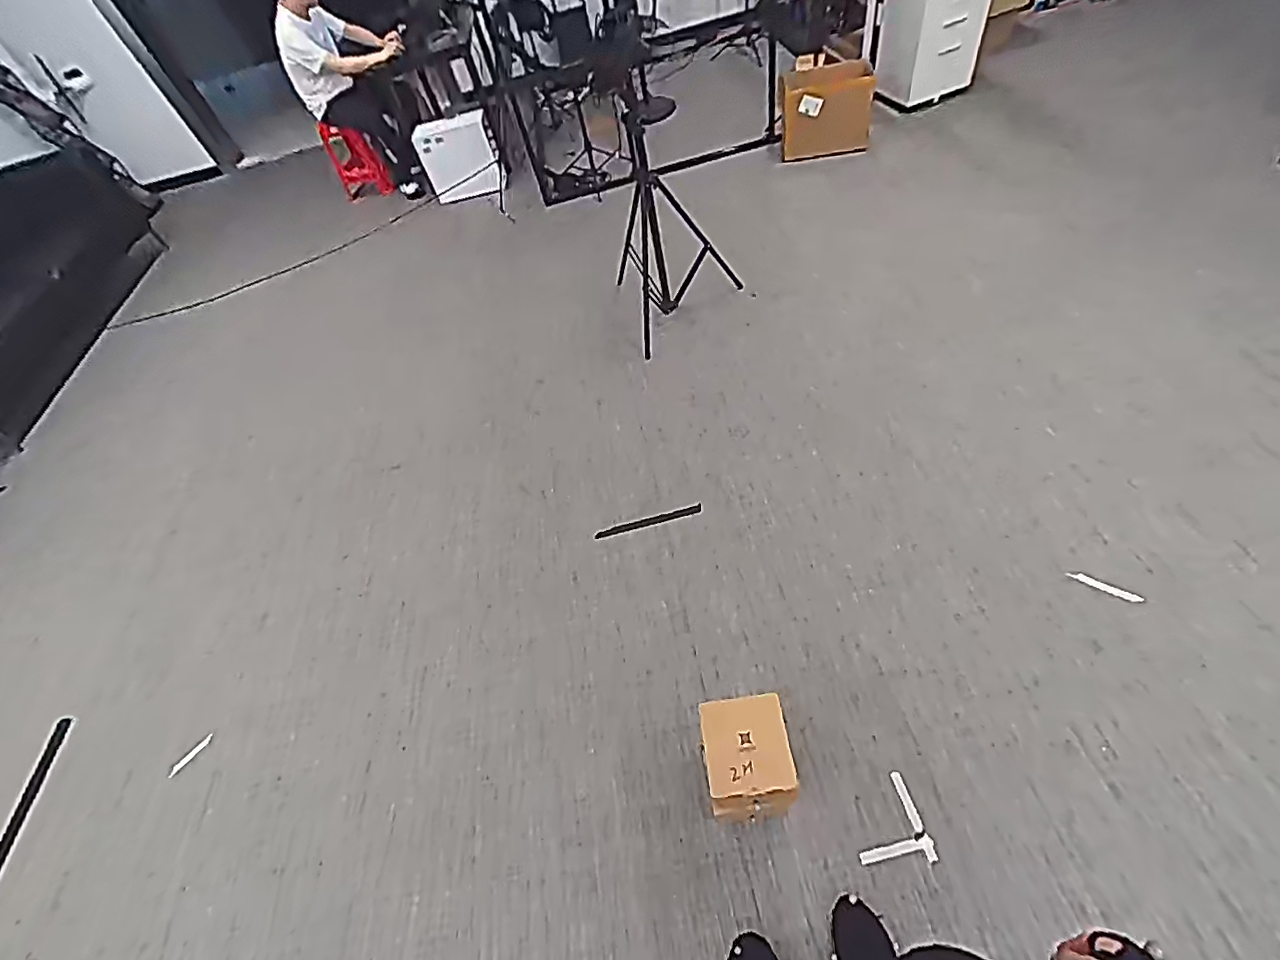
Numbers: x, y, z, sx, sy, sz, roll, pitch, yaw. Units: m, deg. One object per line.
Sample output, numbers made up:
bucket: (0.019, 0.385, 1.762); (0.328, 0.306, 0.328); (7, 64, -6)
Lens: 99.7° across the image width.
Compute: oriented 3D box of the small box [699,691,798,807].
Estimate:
small box: (0.221, 0.558, 1.115); (0.168, 0.176, 0.179); (-11, 52, 7)
